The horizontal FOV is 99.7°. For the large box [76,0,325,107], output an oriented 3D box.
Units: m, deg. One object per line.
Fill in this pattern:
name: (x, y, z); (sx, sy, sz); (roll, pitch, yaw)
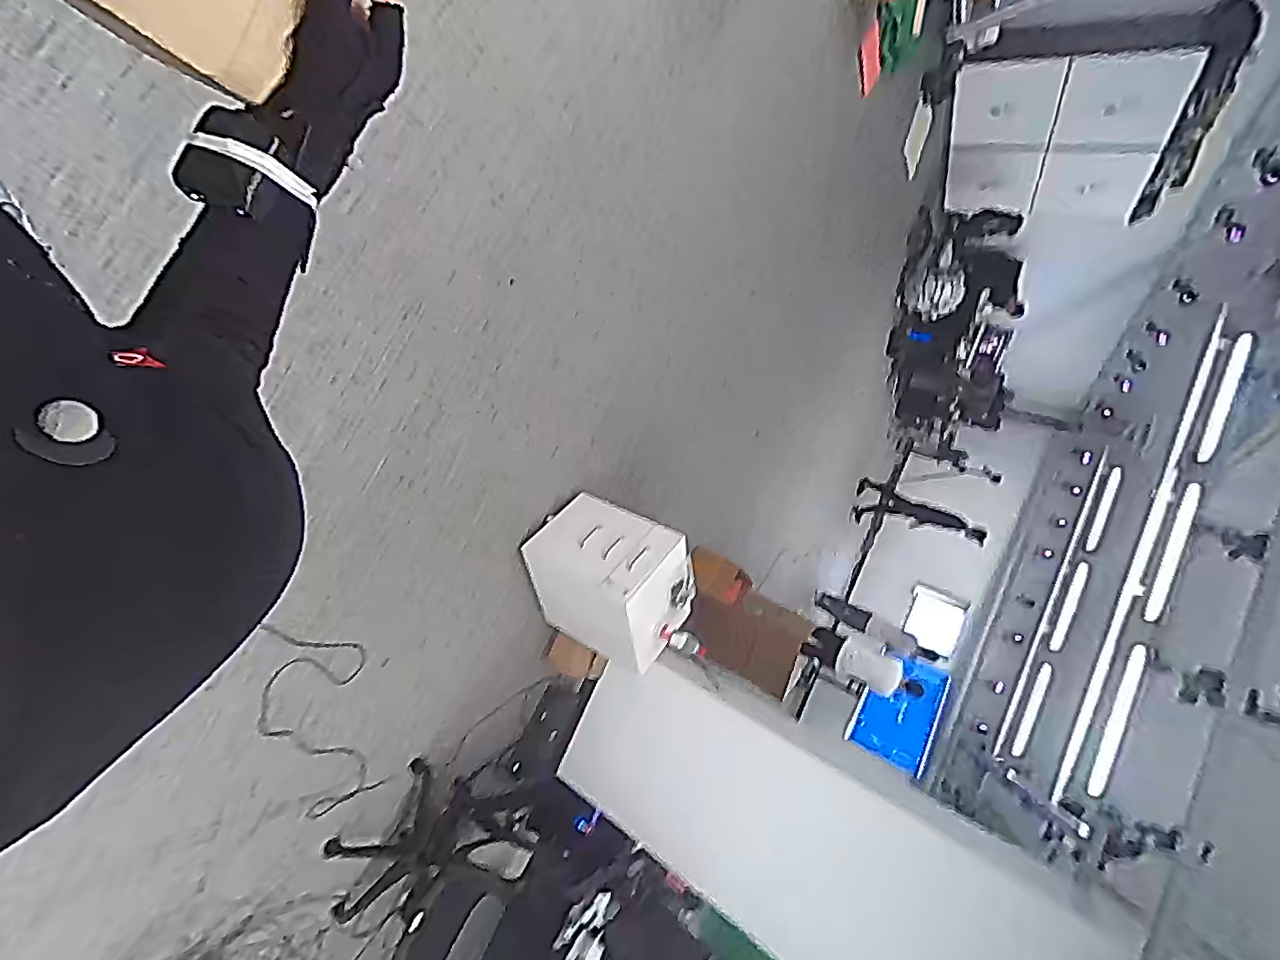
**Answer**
large box: (-0.417, -0.524, 0.310); (0.320, 0.320, 0.408); (-58, 150, 10)
